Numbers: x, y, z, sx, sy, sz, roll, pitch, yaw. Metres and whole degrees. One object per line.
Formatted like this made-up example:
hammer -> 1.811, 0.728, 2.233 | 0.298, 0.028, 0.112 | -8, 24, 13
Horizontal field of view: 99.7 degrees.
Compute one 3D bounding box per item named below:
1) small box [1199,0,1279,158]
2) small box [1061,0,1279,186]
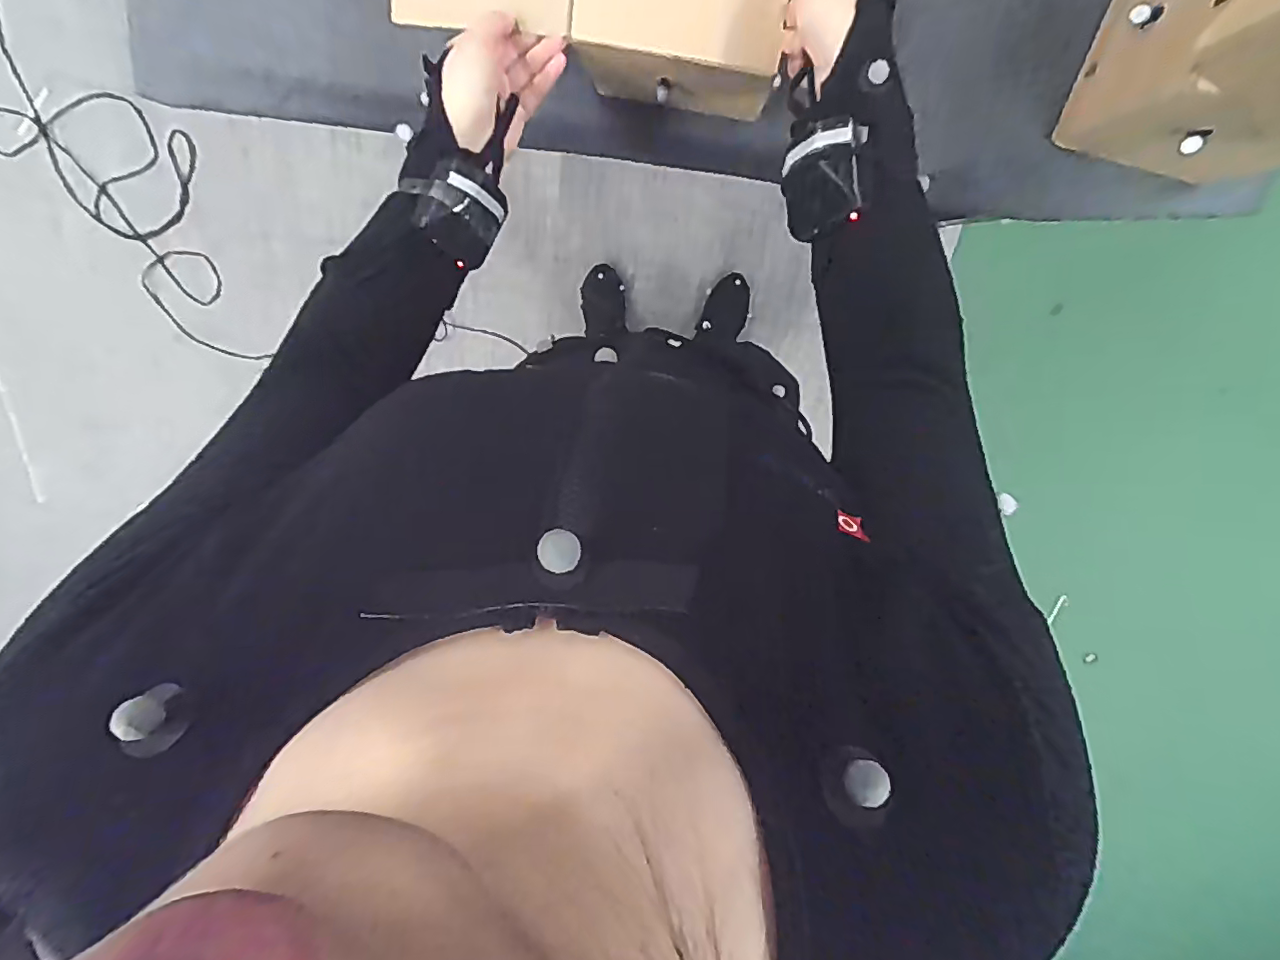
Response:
small box -> 0.520, -0.305, 0.321 | 0.179, 0.176, 0.168 | 34, 108, -9
small box -> 0.529, -0.375, 0.470 | 0.179, 0.176, 0.168 | 15, 110, -1
